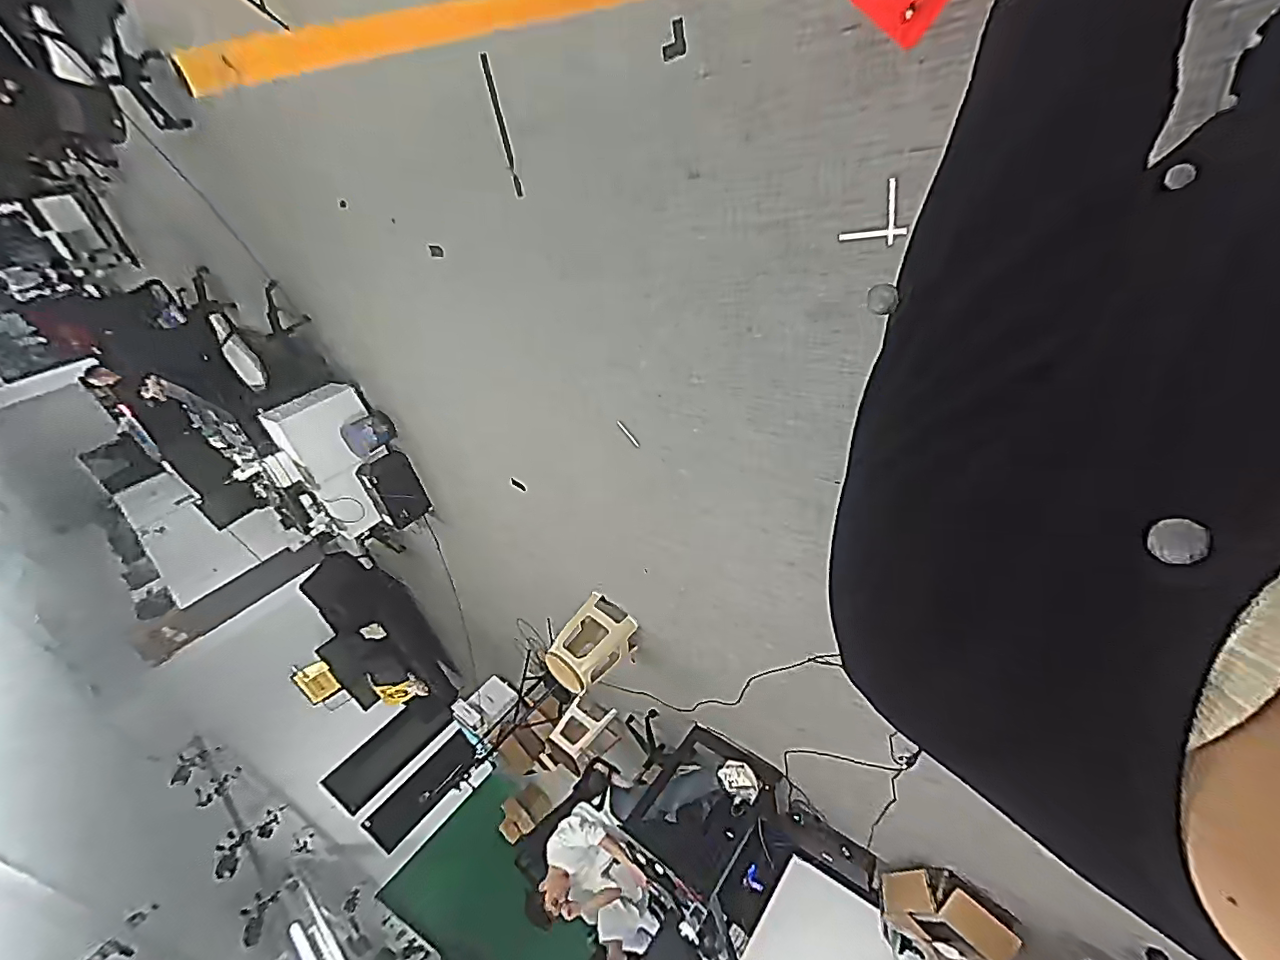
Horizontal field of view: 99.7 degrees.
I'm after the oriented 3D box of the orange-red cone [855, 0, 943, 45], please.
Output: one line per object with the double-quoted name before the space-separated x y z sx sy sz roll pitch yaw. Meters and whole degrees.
"orange-red cone" 0.373 -0.835 0.849 0.198 0.360 0.199 47 143 3
